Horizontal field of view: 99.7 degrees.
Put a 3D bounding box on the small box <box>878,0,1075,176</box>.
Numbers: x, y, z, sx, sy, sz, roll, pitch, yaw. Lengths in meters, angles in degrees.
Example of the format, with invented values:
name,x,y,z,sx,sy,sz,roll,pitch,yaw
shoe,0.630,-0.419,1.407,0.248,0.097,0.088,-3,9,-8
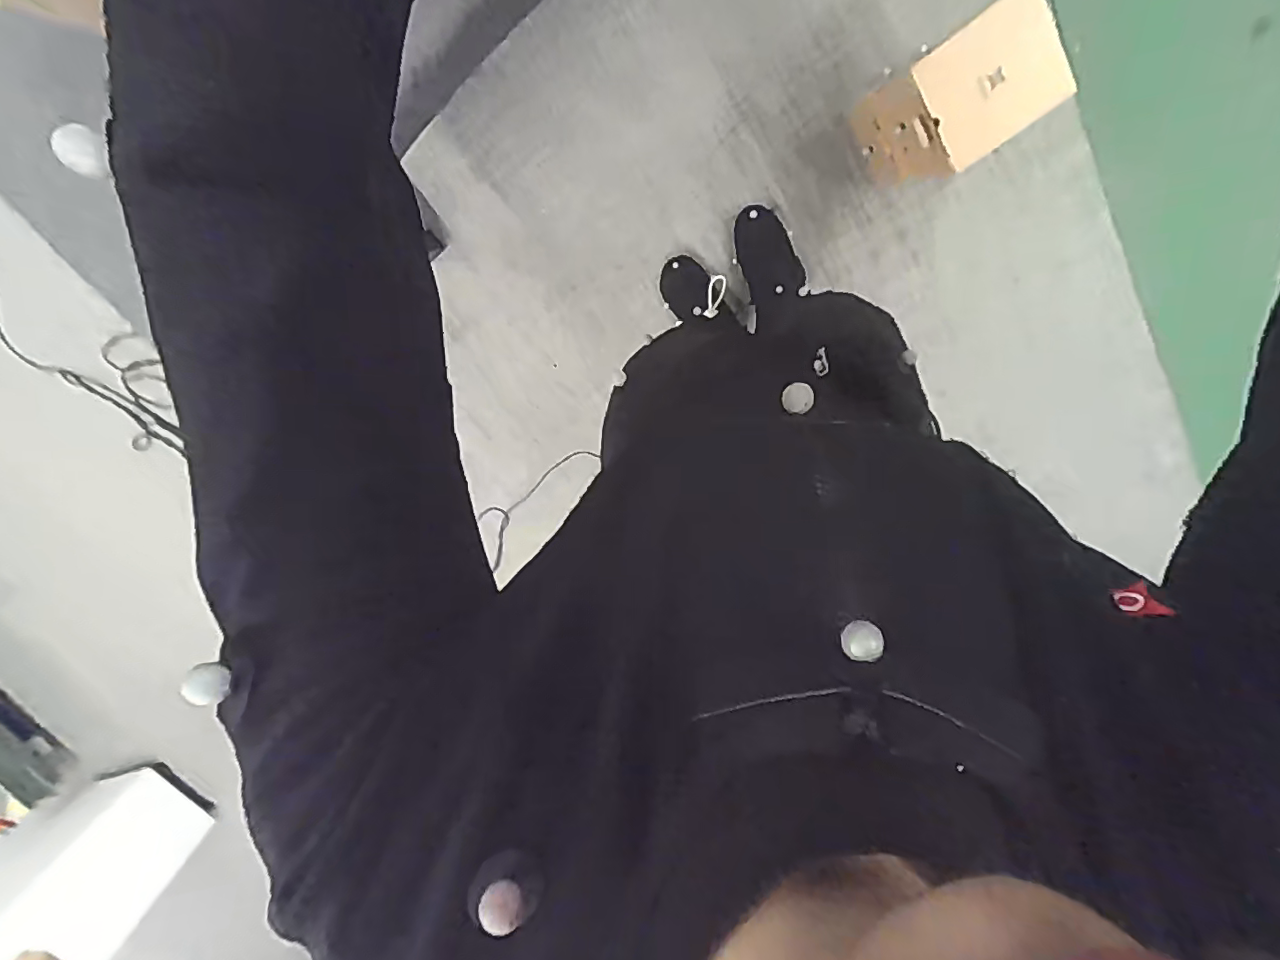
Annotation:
name,x,y,z,sx,sy,sz,roll,pitch,yaw
small box,0.504,-0.600,0.833,0.179,0.176,0.168,-33,109,20

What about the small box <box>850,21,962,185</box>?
name,x,y,z,sx,sy,sz,roll,pitch,yaw
small box,0.504,-0.666,0.985,0.179,0.176,0.168,-31,108,20
